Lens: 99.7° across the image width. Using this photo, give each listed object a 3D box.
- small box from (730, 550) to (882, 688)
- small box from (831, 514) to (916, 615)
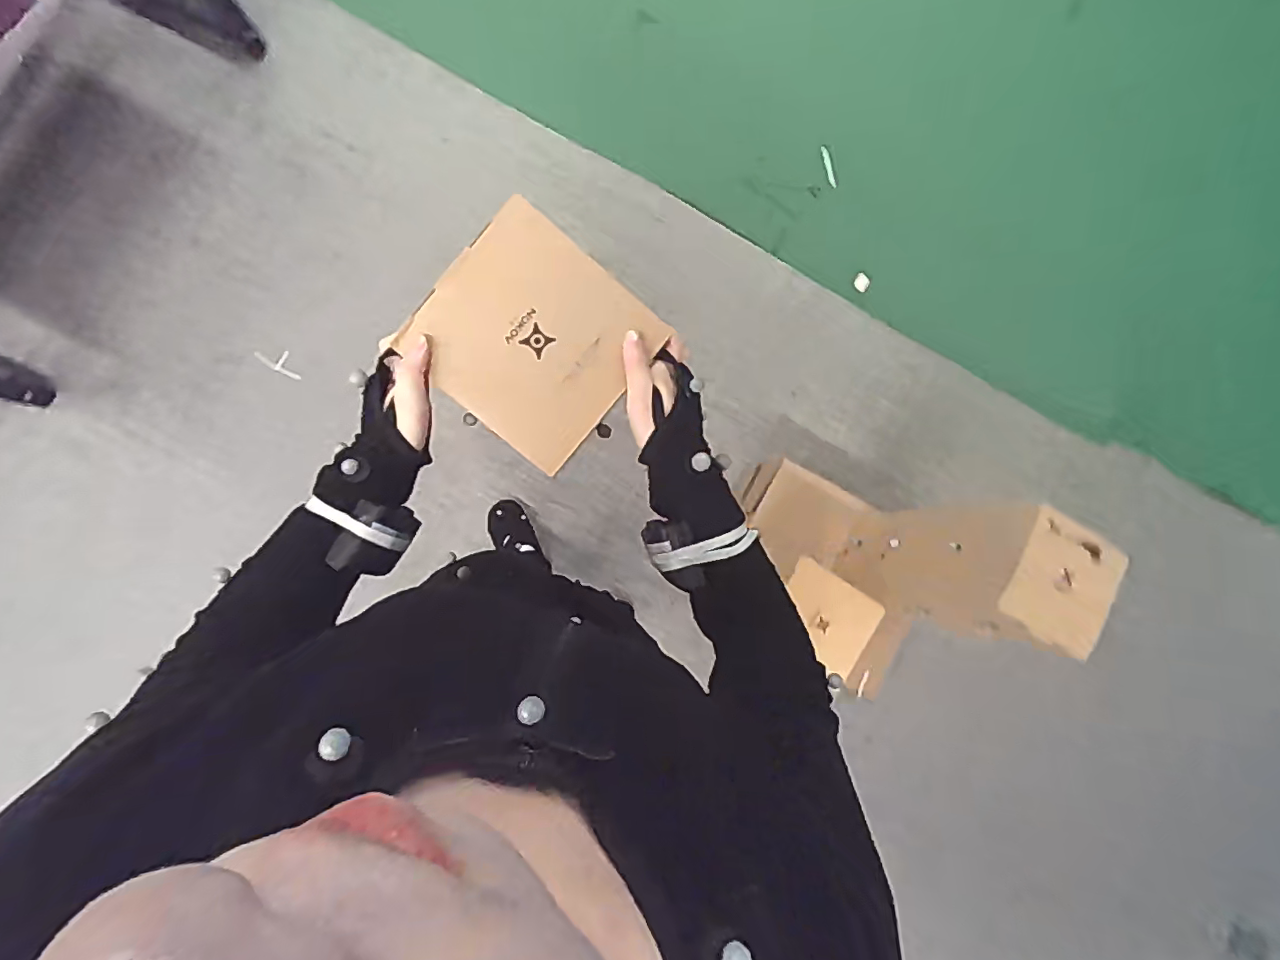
[{"bbox_3d":[0.294,0.241,0.993,0.179,0.176,0.168,34,85,-3],"label":"small box"},{"bbox_3d":[0.564,0.182,1.196,0.179,0.176,0.168,30,83,-6],"label":"small box"}]
